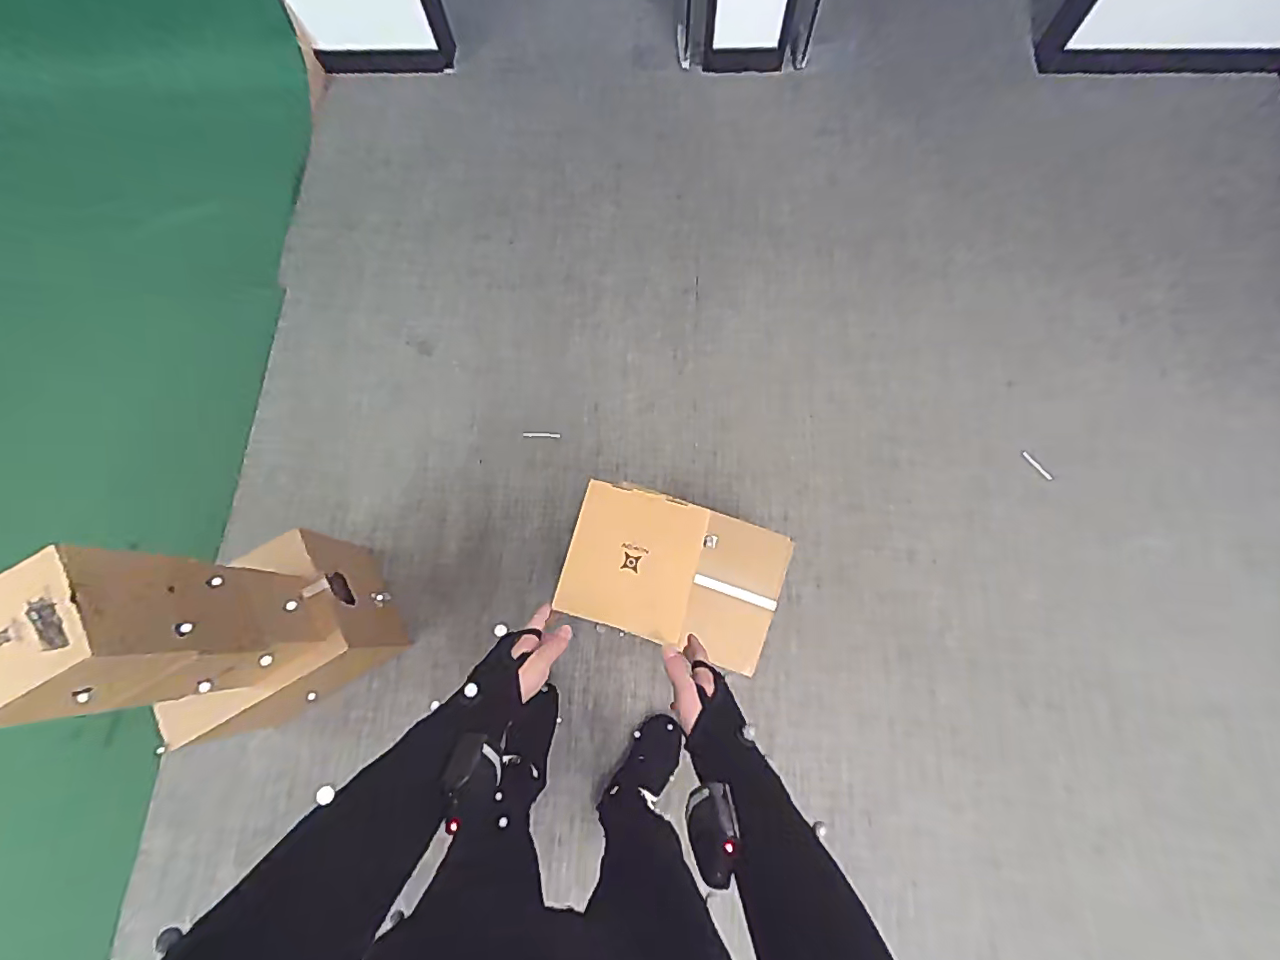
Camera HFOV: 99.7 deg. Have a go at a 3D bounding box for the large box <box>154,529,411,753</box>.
[{"bbox_3d":[-0.851,0.371,1.301,0.408,0.320,0.320,-31,74,-6],"label":"large box"}]

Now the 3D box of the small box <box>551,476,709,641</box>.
[{"bbox_3d":[-0.008,0.116,0.759,0.168,0.176,0.179,14,75,5],"label":"small box"}]

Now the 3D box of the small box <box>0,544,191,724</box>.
[{"bbox_3d":[-0.777,0.209,0.750,0.179,0.176,0.168,-31,76,-5],"label":"small box"}]

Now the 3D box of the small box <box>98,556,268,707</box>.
[{"bbox_3d":[-0.778,0.252,0.908,0.168,0.176,0.179,-29,76,-6],"label":"small box"}]

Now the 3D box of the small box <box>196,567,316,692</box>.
[{"bbox_3d":[-0.779,0.291,1.066,0.179,0.176,0.168,-31,75,-7],"label":"small box"}]
